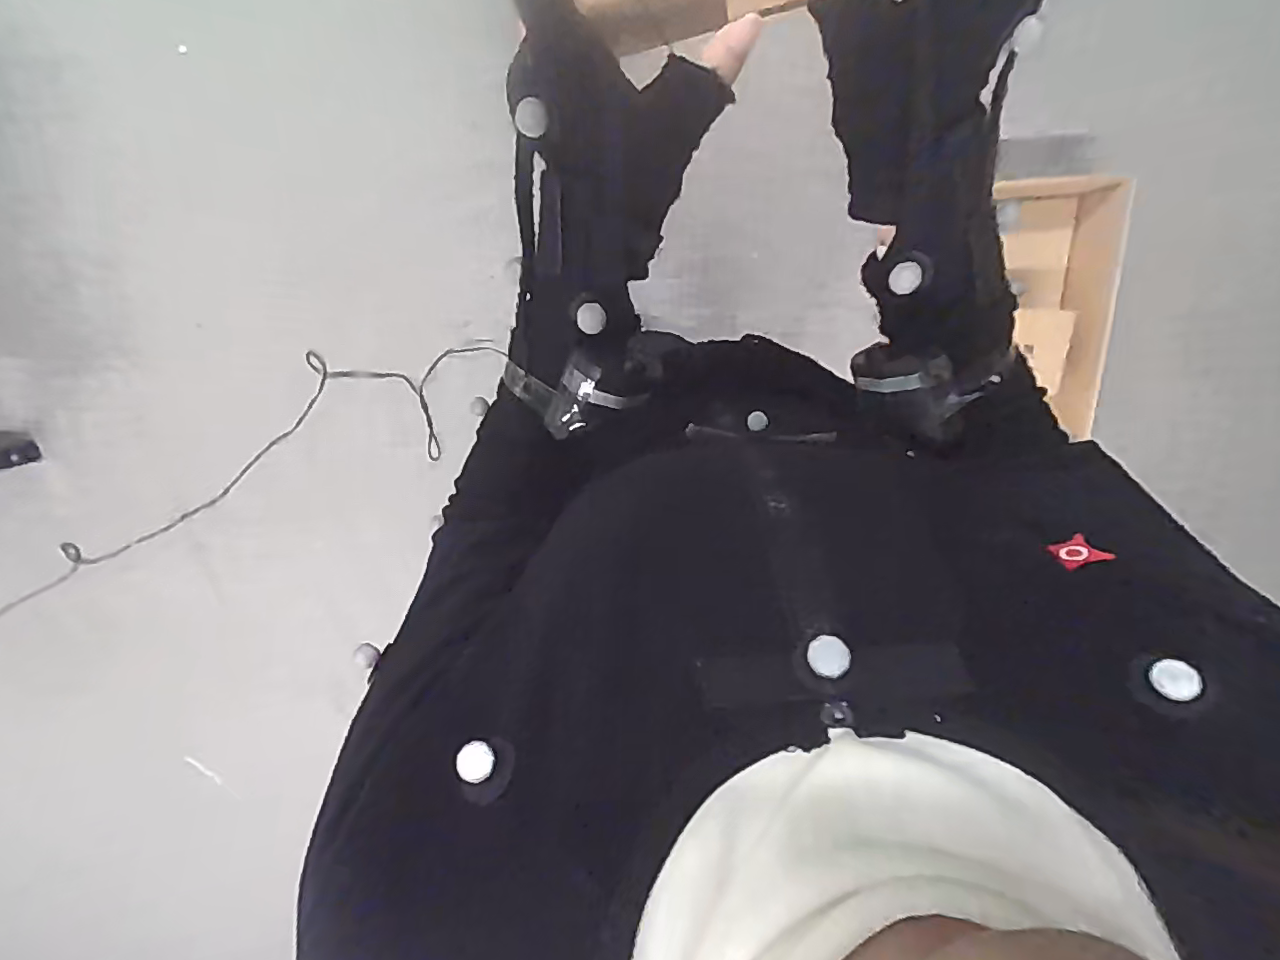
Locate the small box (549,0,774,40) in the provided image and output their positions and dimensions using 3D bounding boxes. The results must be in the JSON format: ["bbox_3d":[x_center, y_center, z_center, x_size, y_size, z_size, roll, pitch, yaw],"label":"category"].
[{"bbox_3d":[0.027,-0.324,0.236,0.168,0.176,0.179,-10,121,9],"label":"small box"}]

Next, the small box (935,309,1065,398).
[{"bbox_3d":[0.797,-0.288,1.219,0.168,0.176,0.179,4,105,0],"label":"small box"}]
